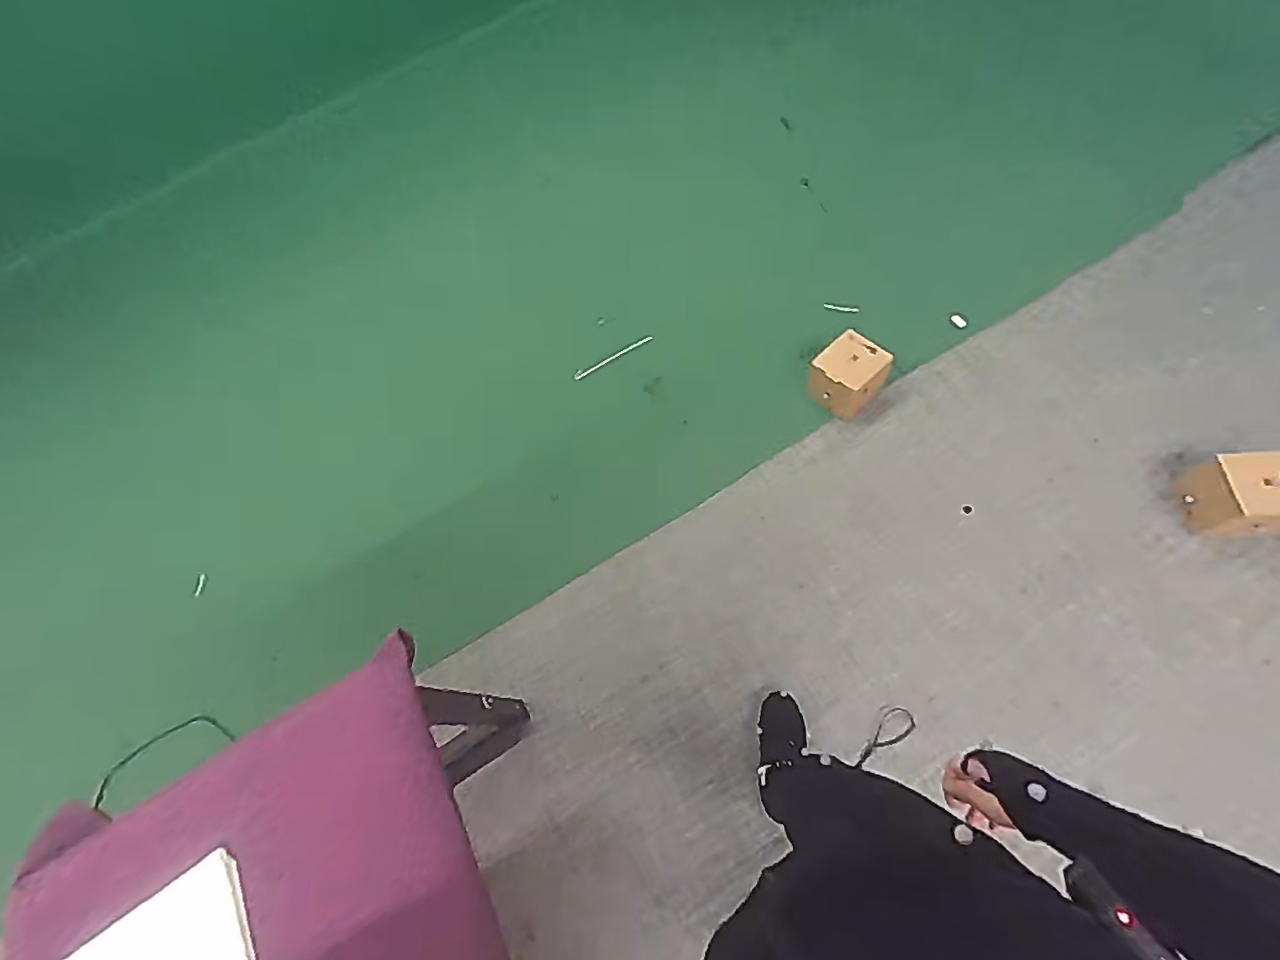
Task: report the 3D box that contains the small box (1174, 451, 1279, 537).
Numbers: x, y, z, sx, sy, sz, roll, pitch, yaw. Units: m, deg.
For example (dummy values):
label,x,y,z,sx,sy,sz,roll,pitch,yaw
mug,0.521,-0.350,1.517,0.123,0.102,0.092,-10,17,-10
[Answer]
label,x,y,z,sx,sy,sz,roll,pitch,yaw
small box,1.519,0.039,1.354,0.179,0.176,0.168,-2,64,10

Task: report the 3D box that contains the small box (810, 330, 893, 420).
label,x,y,z,sx,sy,sz,roll,pitch,yaw
small box,0.647,-0.320,1.682,0.179,0.176,0.168,-41,65,-9
